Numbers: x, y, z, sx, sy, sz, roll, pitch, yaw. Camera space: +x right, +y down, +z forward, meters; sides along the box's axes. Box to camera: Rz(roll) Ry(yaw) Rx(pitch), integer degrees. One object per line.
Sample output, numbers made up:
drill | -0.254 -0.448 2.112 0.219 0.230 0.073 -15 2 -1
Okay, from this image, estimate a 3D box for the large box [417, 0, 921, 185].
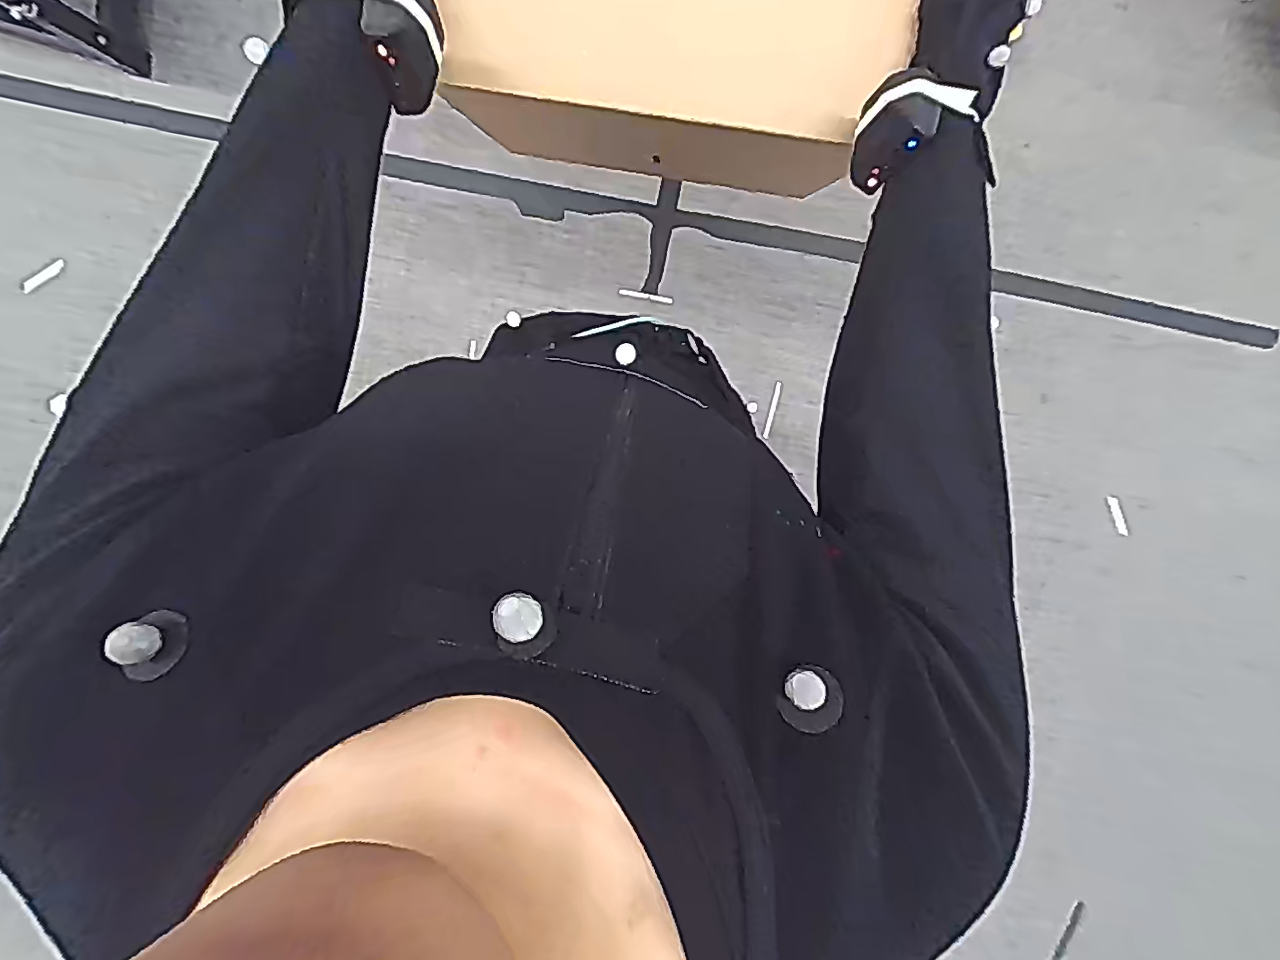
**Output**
large box | 0.040 -0.506 0.536 0.408 0.320 0.320 9 110 0
